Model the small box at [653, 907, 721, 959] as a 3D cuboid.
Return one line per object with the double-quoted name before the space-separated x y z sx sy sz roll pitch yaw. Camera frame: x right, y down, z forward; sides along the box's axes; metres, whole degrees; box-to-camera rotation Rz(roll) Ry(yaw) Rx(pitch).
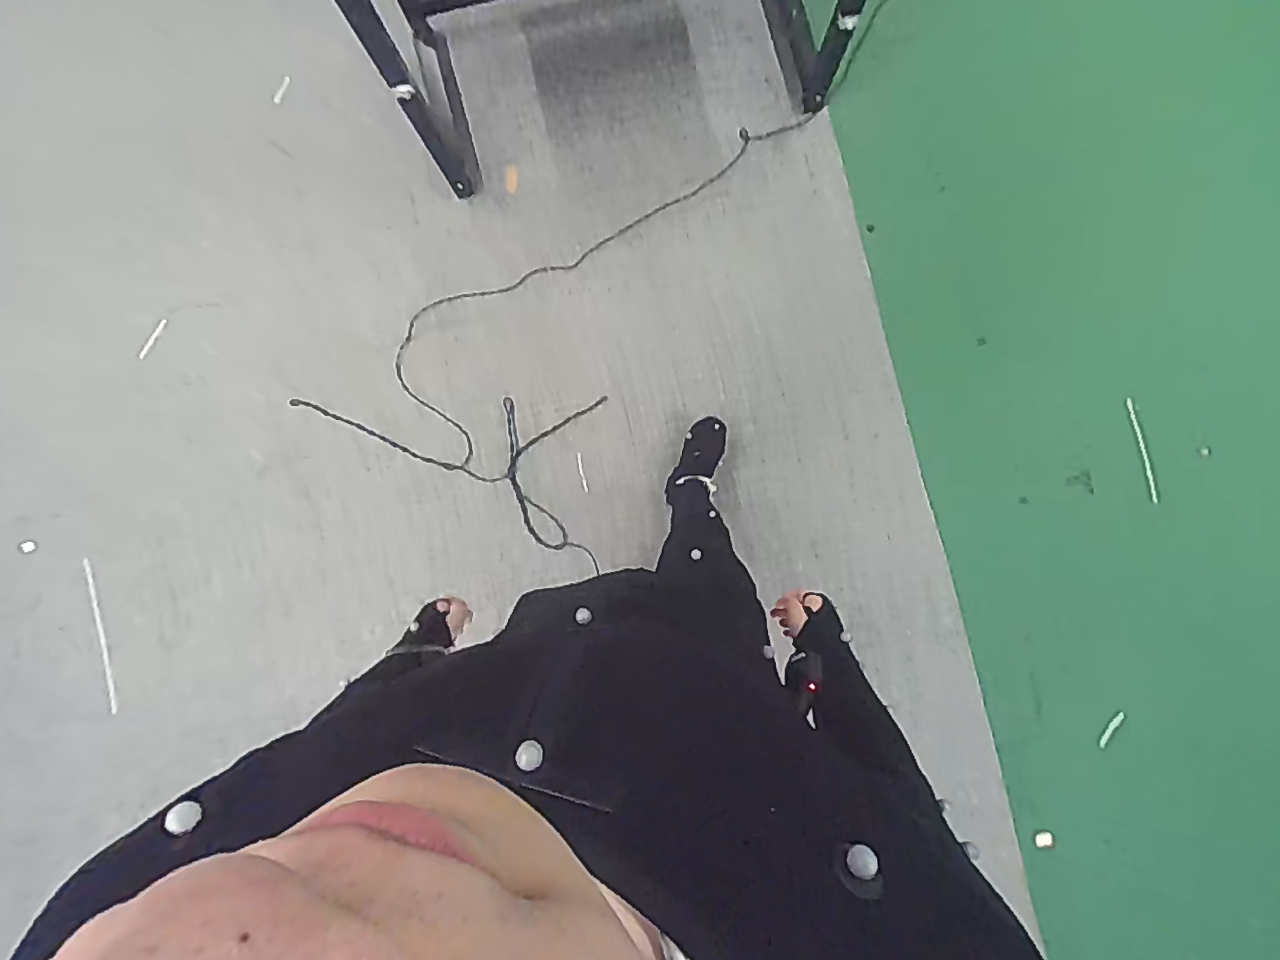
"small box" 0.129 1.272 1.425 0.168 0.176 0.179 -9 87 0
